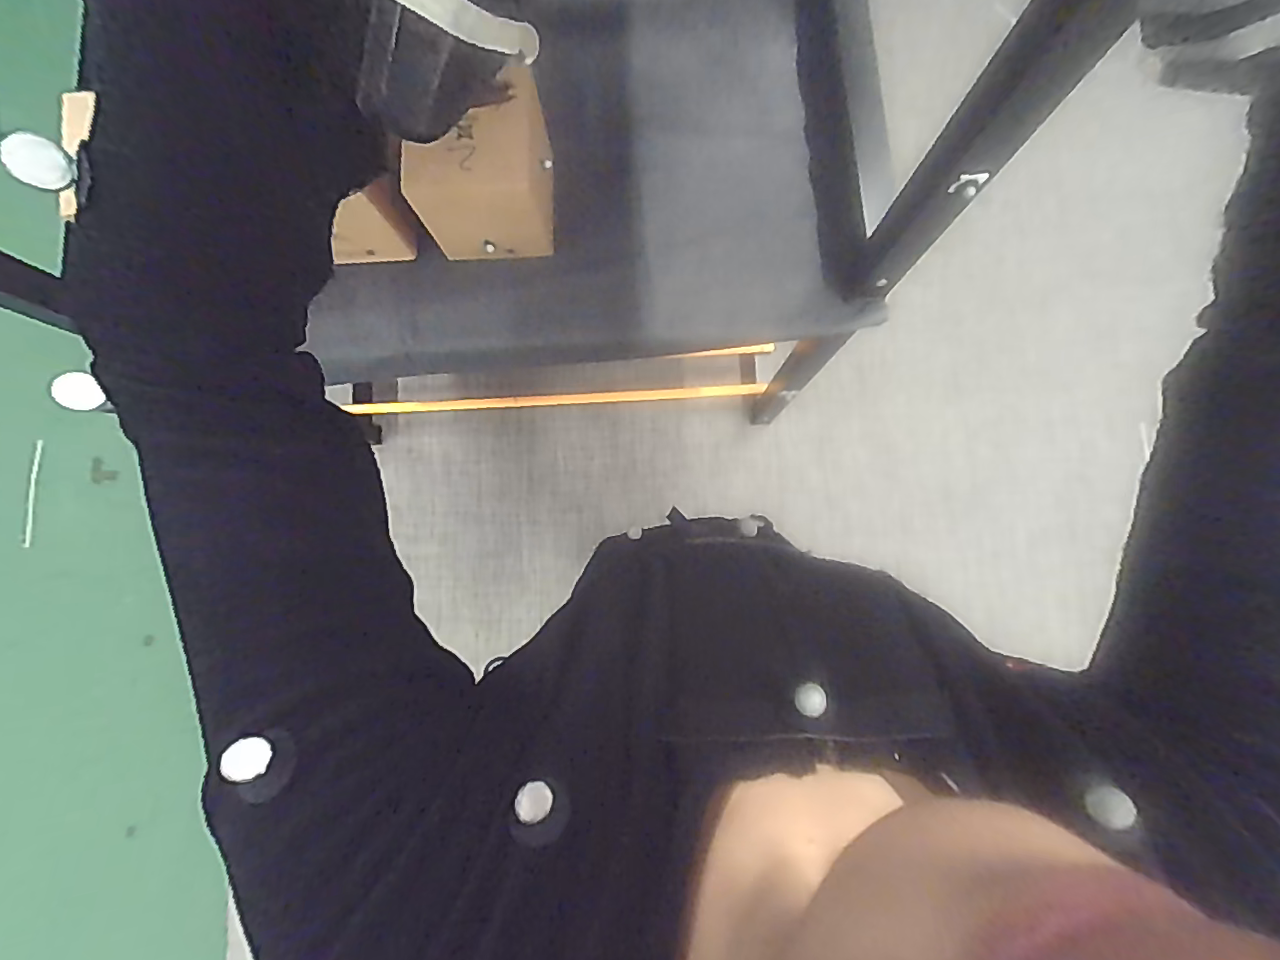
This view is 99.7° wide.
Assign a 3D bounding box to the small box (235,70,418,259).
[{"bbox_3d":[-0.432,-0.434,0.773,0.168,0.176,0.179,-3,81,1],"label":"small box"}]
